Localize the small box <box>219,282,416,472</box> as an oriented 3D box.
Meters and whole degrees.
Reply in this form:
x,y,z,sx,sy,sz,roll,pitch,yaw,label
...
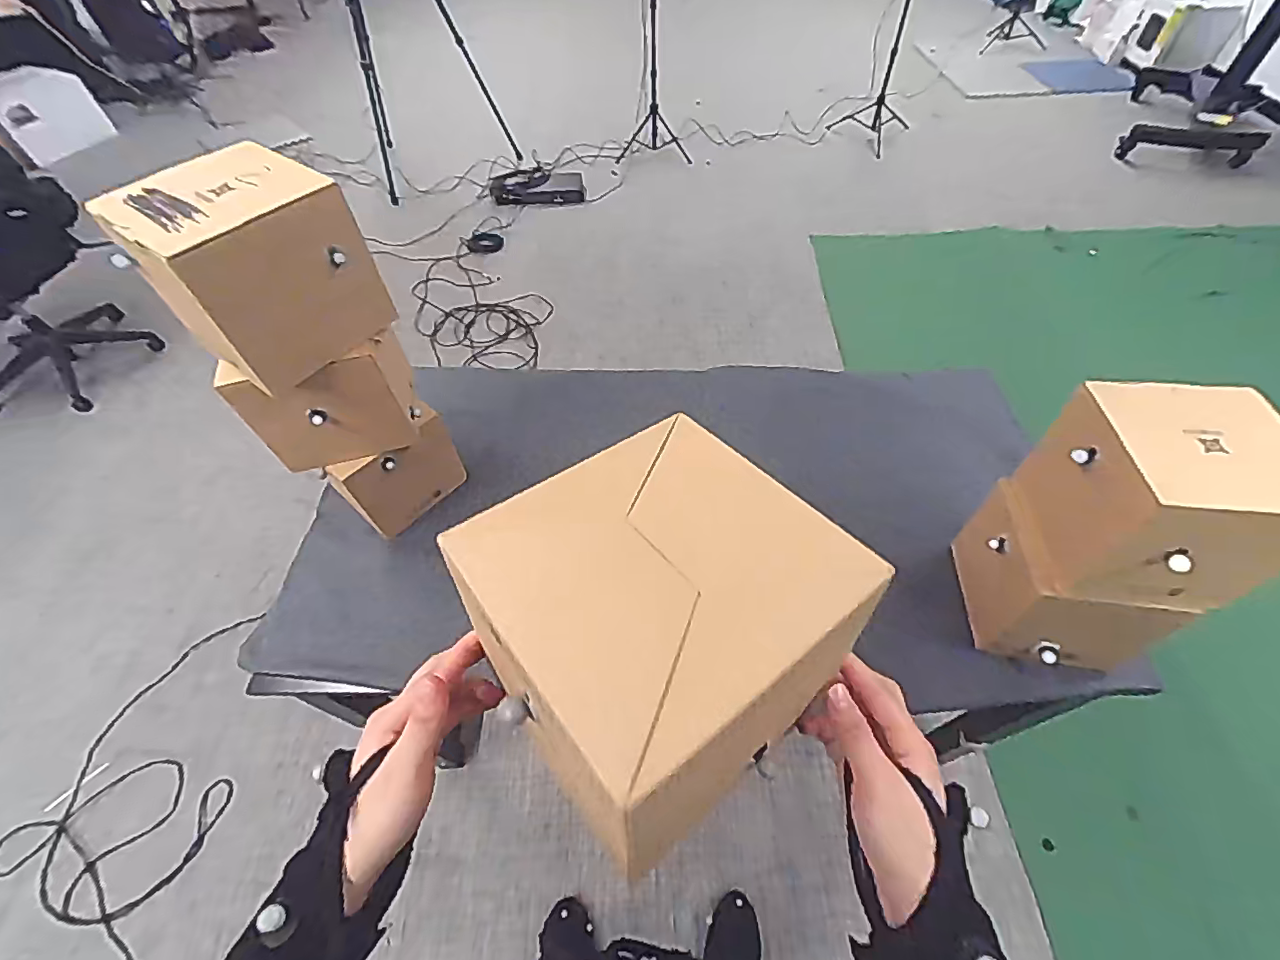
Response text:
x,y,z,sx,sy,sz,roll,pitch,yaw,label
-0.419,-0.136,0.737,0.179,0.176,0.168,-16,55,-9,small box

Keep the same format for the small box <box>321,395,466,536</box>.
x,y,z,sx,sy,sz,roll,pitch,yaw,label
-0.414,-0.042,0.872,0.179,0.176,0.168,35,62,24,small box

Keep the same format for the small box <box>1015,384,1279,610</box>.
x,y,z,sx,sy,sz,roll,pitch,yaw,label
0.545,0.020,0.575,0.168,0.176,0.179,4,49,7,small box

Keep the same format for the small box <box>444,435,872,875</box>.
x,y,z,sx,sy,sz,roll,pitch,yaw,label
0.010,0.096,0.336,0.179,0.176,0.168,-30,53,-25,small box

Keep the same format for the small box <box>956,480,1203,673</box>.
x,y,z,sx,sy,sz,roll,pitch,yaw,label
0.538,0.125,0.700,0.168,0.176,0.179,5,51,9,small box
